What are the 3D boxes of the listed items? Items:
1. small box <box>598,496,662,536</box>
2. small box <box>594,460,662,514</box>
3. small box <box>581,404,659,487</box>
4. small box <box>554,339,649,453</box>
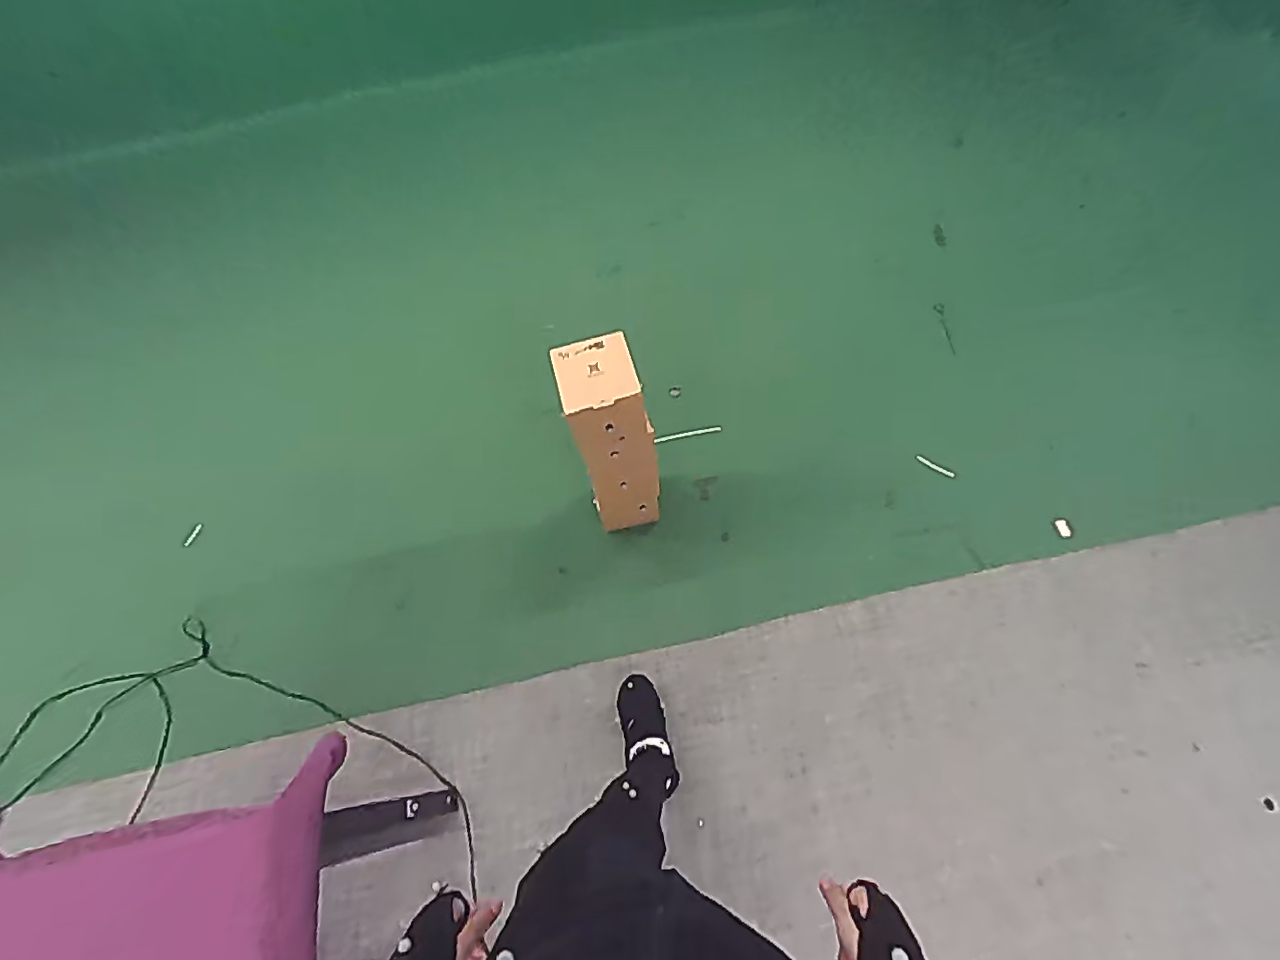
[{"bbox_3d":[-0.034,0.052,1.633,0.179,0.176,0.168,-13,62,-1],"label":"small box"},{"bbox_3d":[-0.042,-0.026,1.491,0.179,0.176,0.168,-16,62,-2],"label":"small box"},{"bbox_3d":[-0.059,-0.102,1.347,0.179,0.176,0.168,-16,63,-4],"label":"small box"},{"bbox_3d":[-0.080,-0.176,1.202,0.168,0.176,0.179,-15,63,-2],"label":"small box"}]
